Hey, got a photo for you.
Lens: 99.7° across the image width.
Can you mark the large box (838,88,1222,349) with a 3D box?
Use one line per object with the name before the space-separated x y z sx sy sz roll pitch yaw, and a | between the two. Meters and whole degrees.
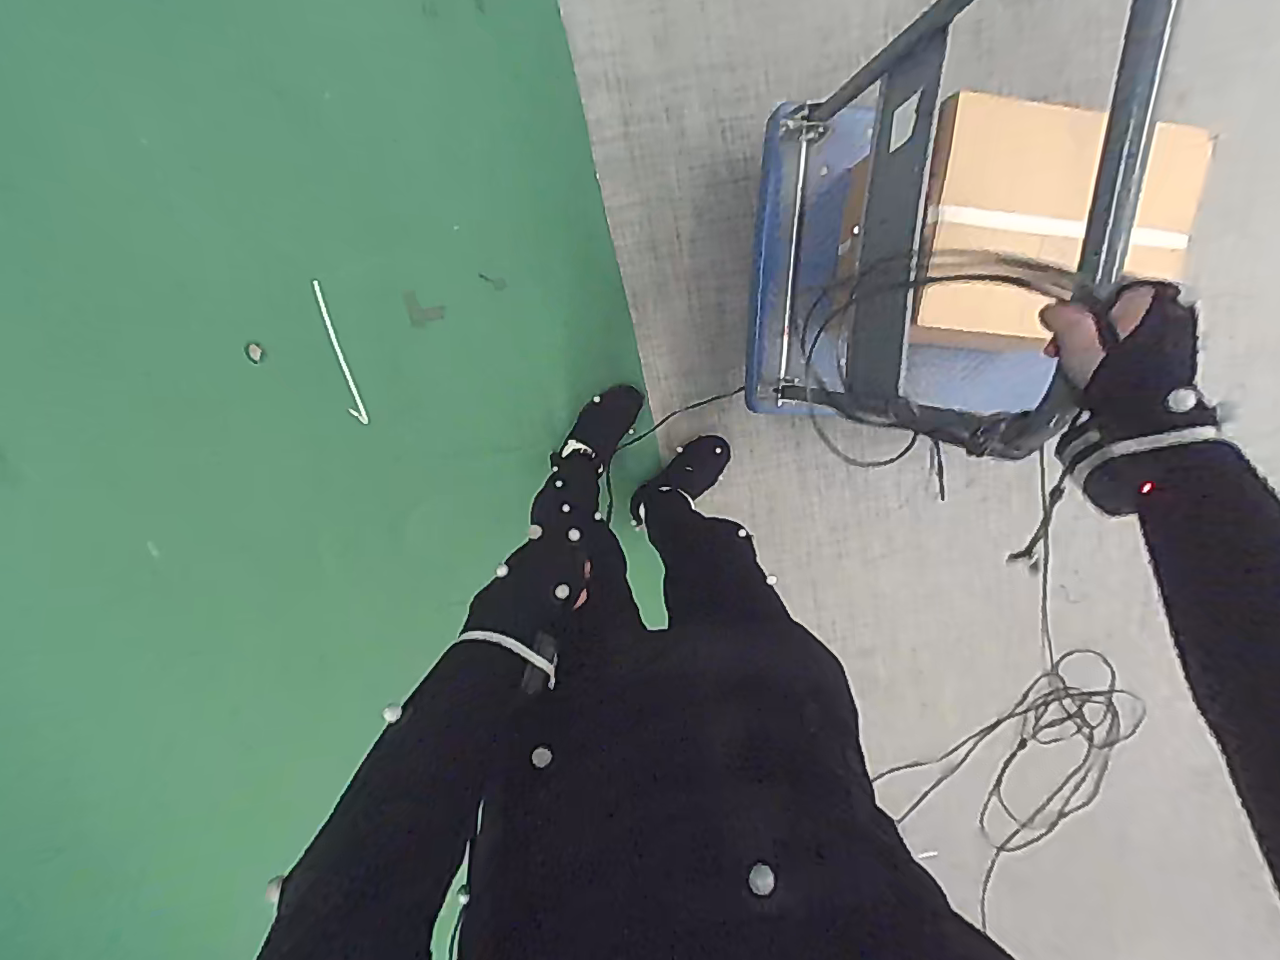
large box | 0.609 -0.400 0.923 0.408 0.320 0.320 4 102 -7
